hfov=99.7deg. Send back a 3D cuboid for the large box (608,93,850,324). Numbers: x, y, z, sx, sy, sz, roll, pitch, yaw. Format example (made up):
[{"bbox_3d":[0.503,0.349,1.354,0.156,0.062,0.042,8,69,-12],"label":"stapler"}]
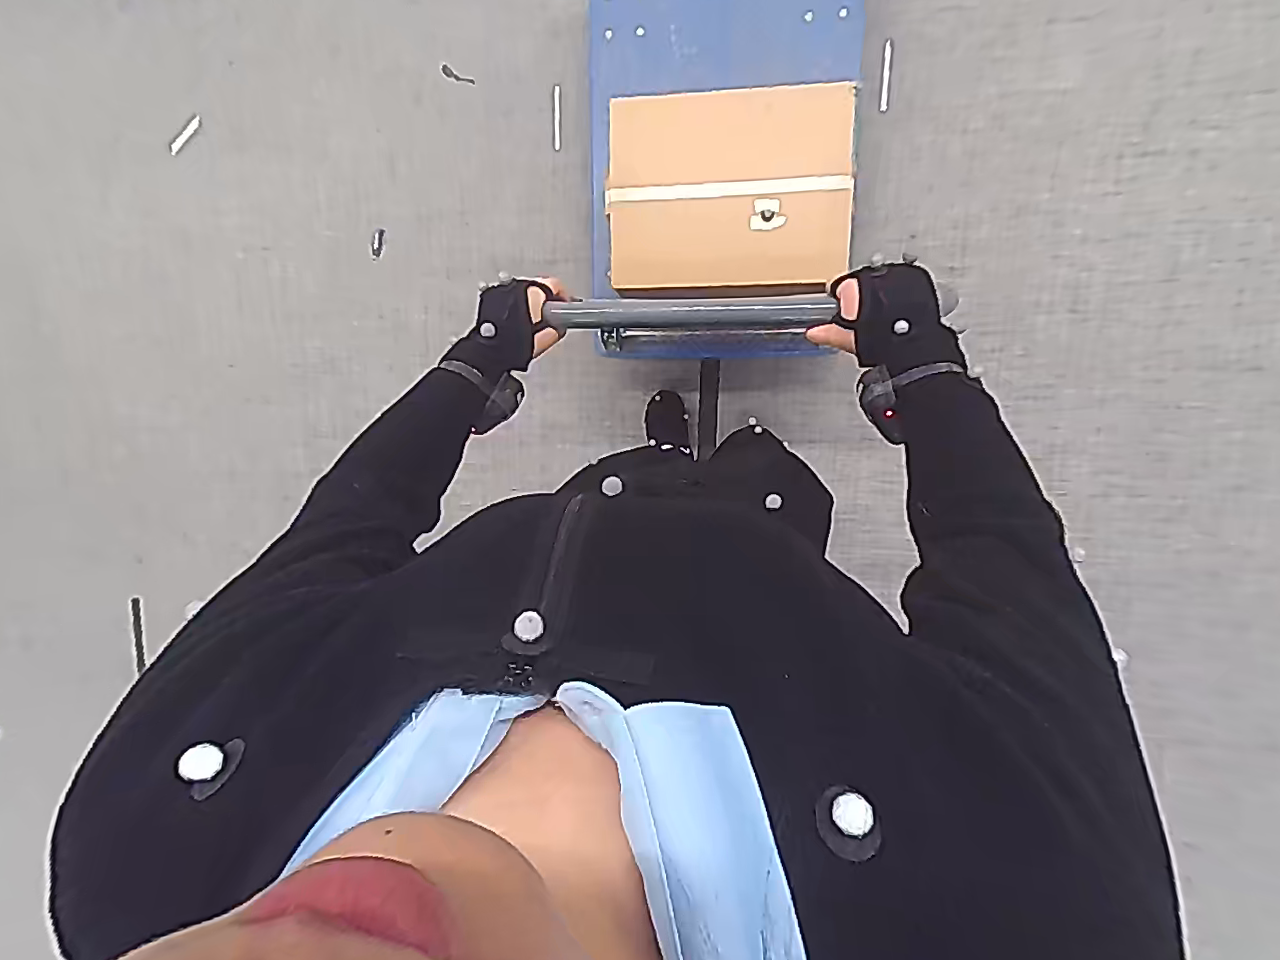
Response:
[{"bbox_3d":[0.159,-0.494,1.061,0.408,0.320,0.320,1,98,6],"label":"large box"}]
